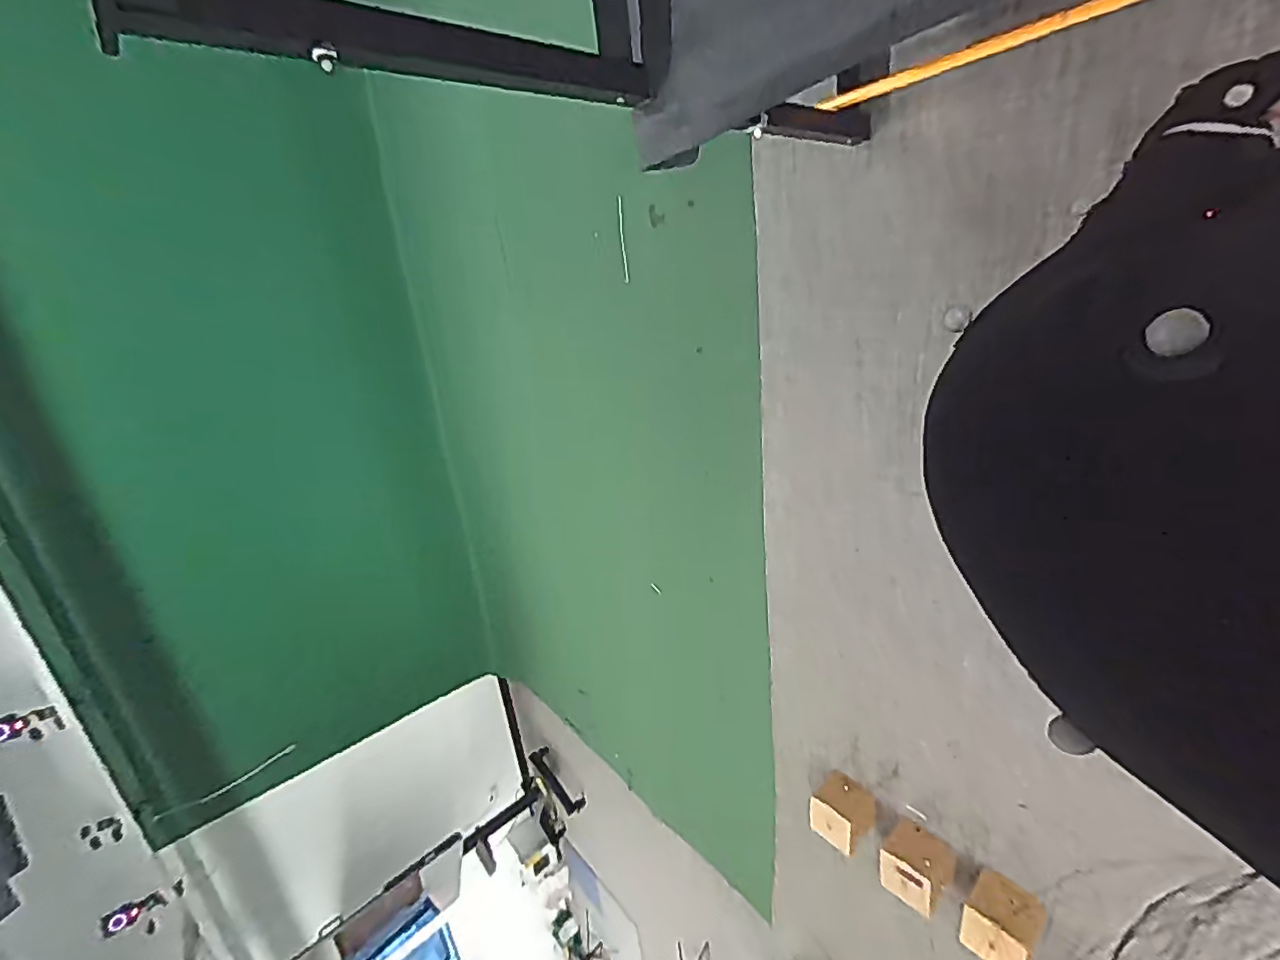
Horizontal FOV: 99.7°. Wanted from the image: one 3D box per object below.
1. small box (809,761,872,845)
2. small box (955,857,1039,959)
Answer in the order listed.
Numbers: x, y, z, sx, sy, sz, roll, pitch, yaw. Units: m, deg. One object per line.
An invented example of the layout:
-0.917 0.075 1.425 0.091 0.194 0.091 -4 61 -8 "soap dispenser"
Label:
0.766 1.229 2.068 0.168 0.176 0.179 18 120 47 "small box"
1.107 1.336 1.677 0.168 0.176 0.179 17 120 47 "small box"
